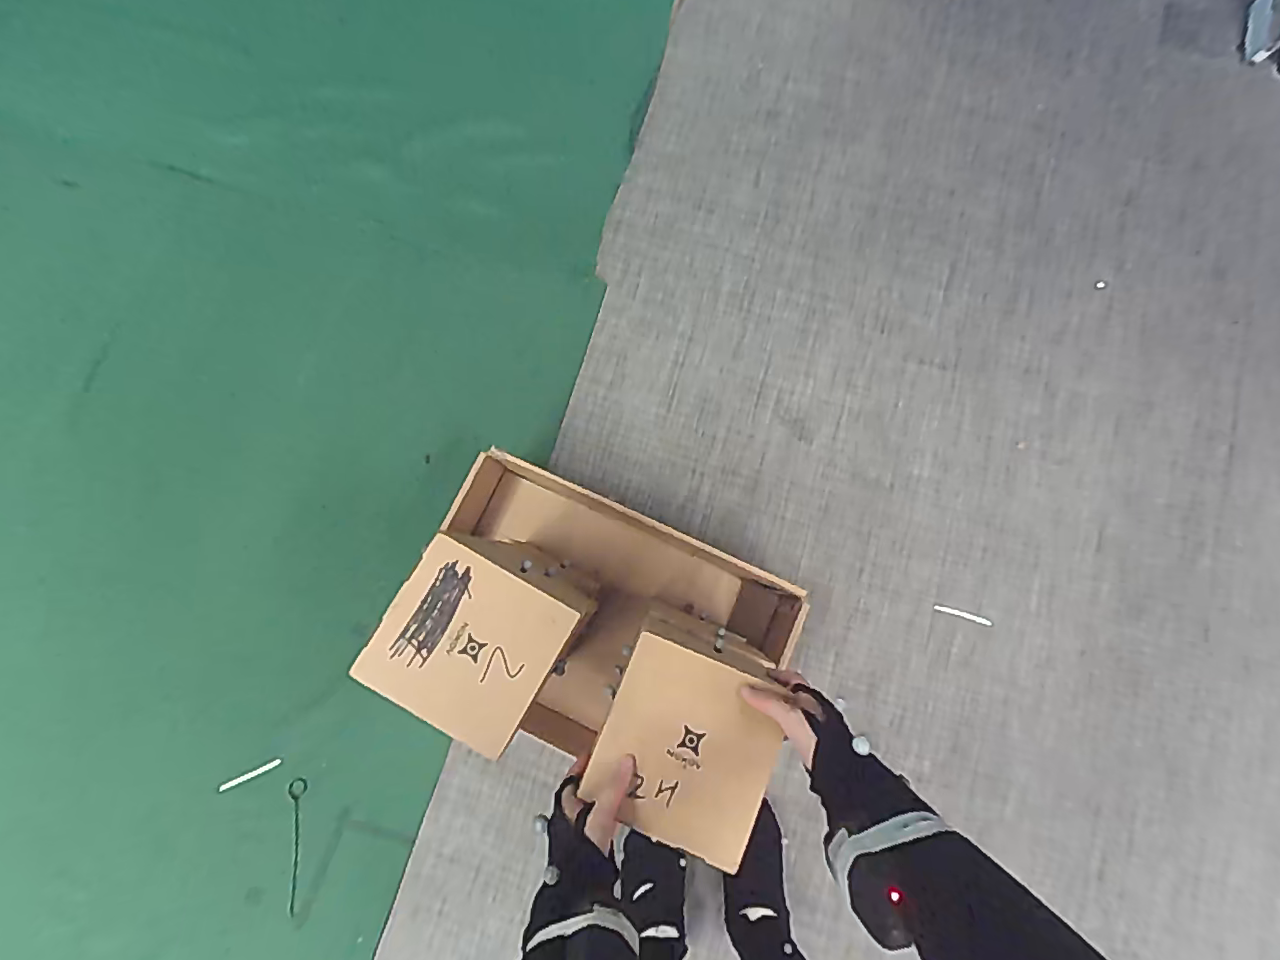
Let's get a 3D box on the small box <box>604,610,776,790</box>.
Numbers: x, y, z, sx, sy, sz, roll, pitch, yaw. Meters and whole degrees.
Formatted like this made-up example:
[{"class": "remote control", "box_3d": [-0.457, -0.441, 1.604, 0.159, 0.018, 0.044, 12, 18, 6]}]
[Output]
[{"class": "small box", "box_3d": [0.068, 0.293, 0.765, 0.179, 0.176, 0.168, 22, 81, 6]}]
